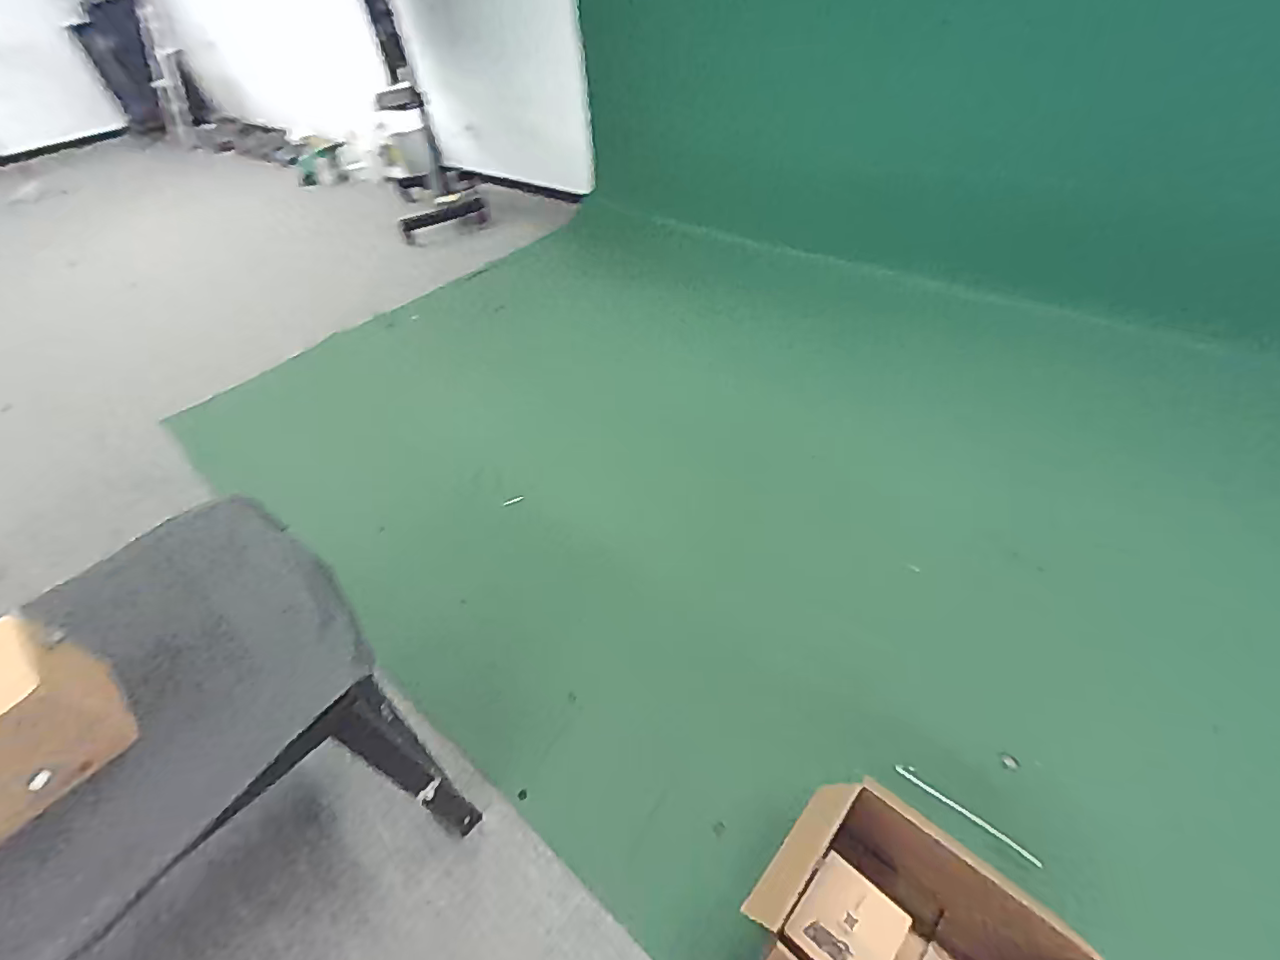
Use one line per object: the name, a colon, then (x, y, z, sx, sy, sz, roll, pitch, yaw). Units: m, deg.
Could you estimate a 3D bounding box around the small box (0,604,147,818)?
small box: (-0.823, 0.308, 0.720, 0.179, 0.176, 0.168, 30, 56, 30)
